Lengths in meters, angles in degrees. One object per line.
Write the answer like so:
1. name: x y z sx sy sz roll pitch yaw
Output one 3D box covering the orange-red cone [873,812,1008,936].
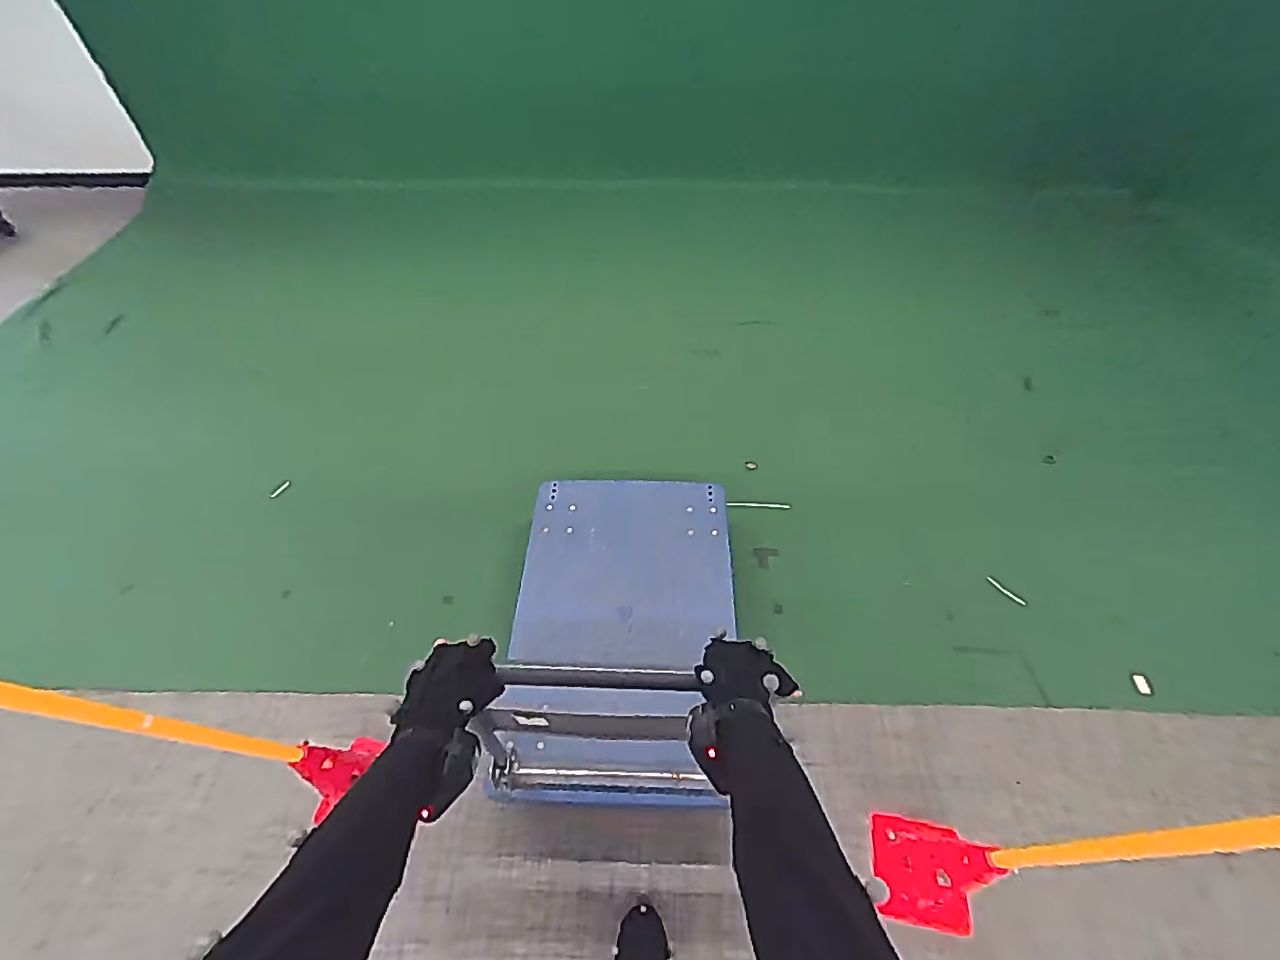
1. orange-red cone: 0.618 0.762 1.065 0.198 0.360 0.199 9 53 9
